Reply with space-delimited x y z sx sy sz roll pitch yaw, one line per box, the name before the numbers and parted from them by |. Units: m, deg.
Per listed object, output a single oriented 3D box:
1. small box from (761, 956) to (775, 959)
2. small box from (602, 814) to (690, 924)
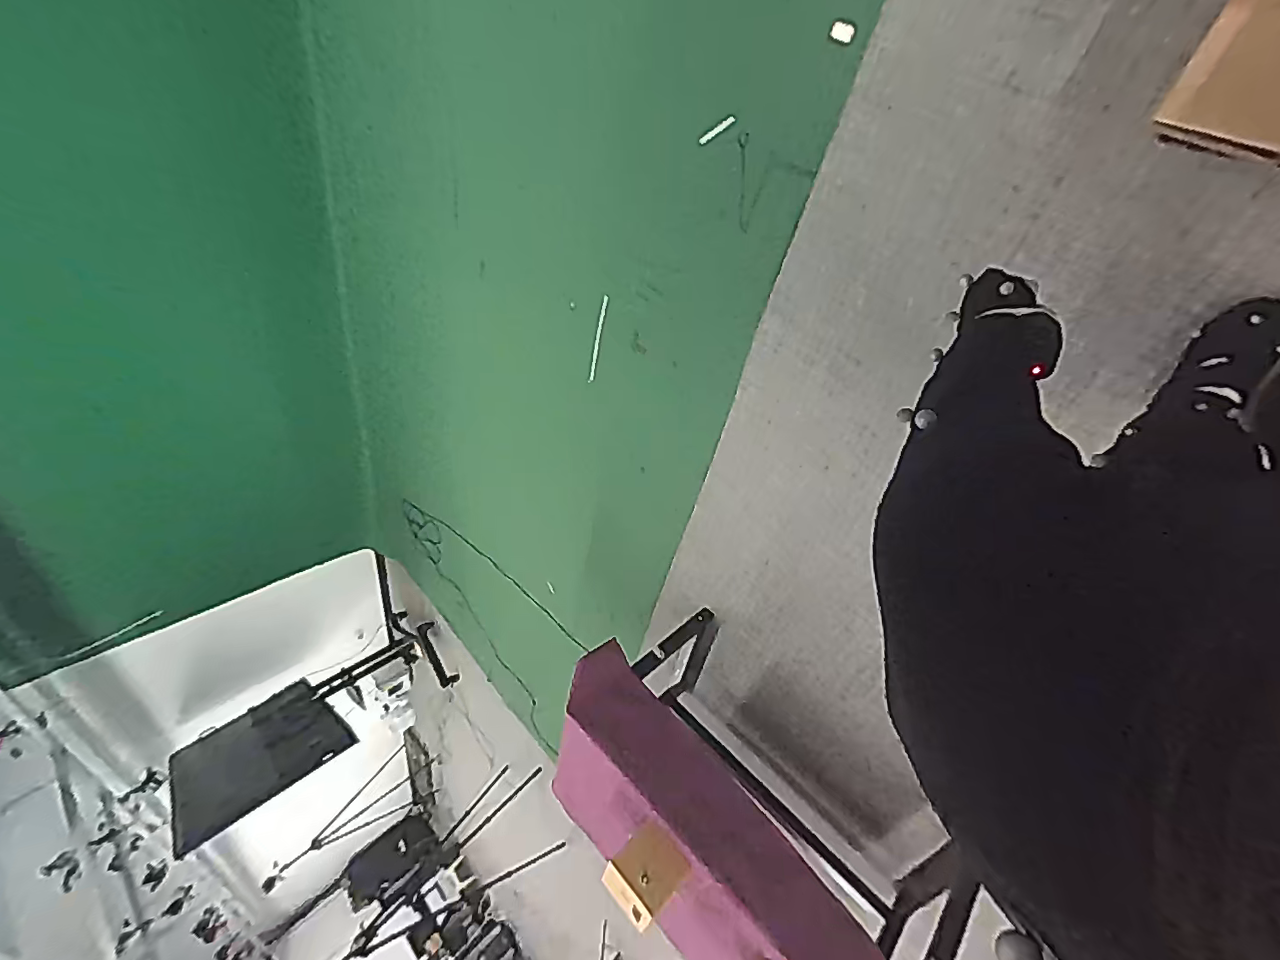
small box | 0.319 1.363 1.363 0.168 0.176 0.179 39 135 27
small box | 0.018 1.121 1.566 0.179 0.176 0.168 39 134 28
